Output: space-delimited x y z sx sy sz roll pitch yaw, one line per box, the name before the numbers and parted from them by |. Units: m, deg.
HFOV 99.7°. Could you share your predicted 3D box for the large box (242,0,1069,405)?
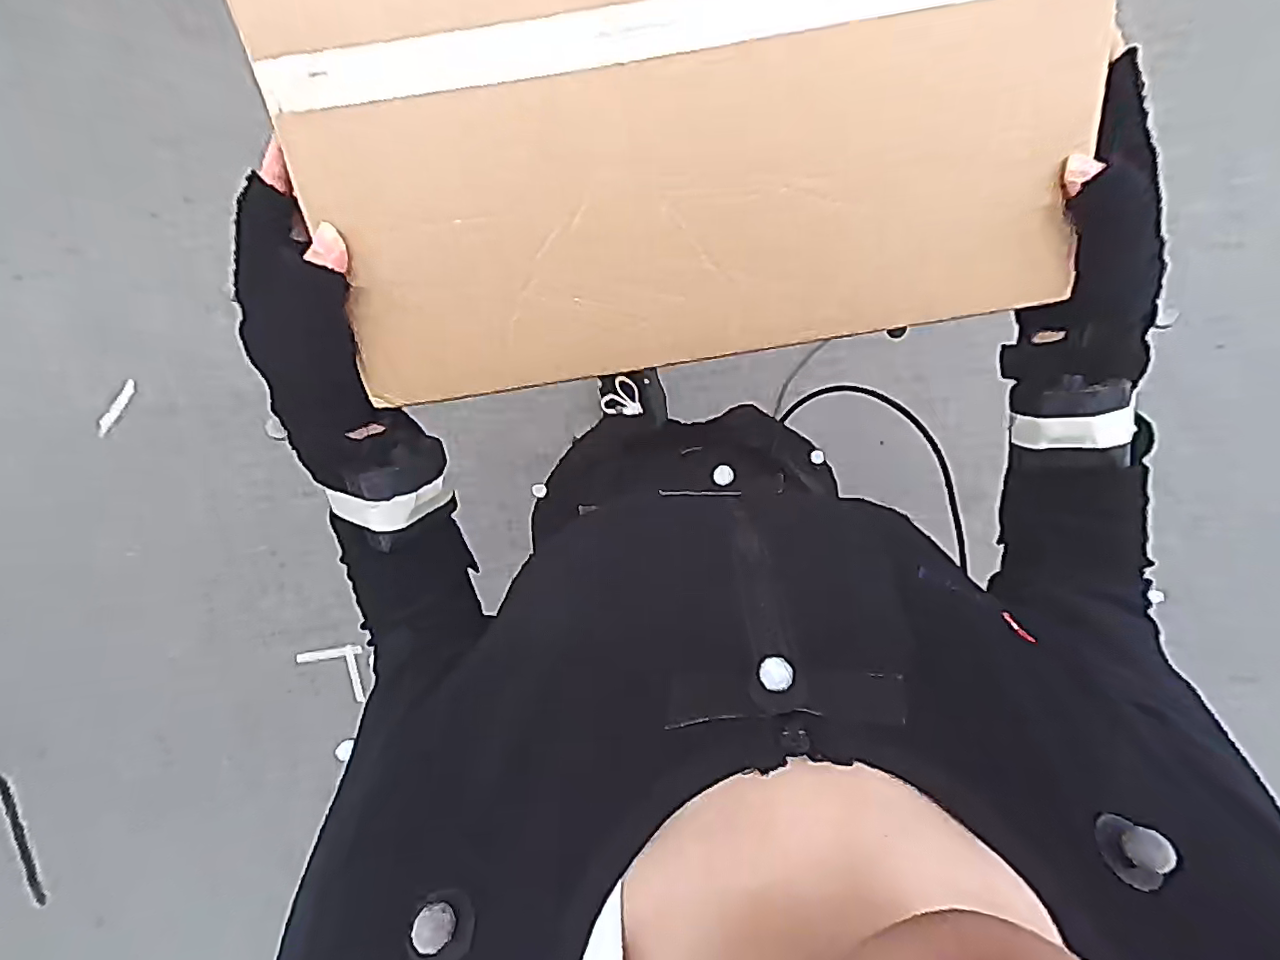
large box | 0.010 -0.274 0.401 0.408 0.320 0.320 -9 112 0
